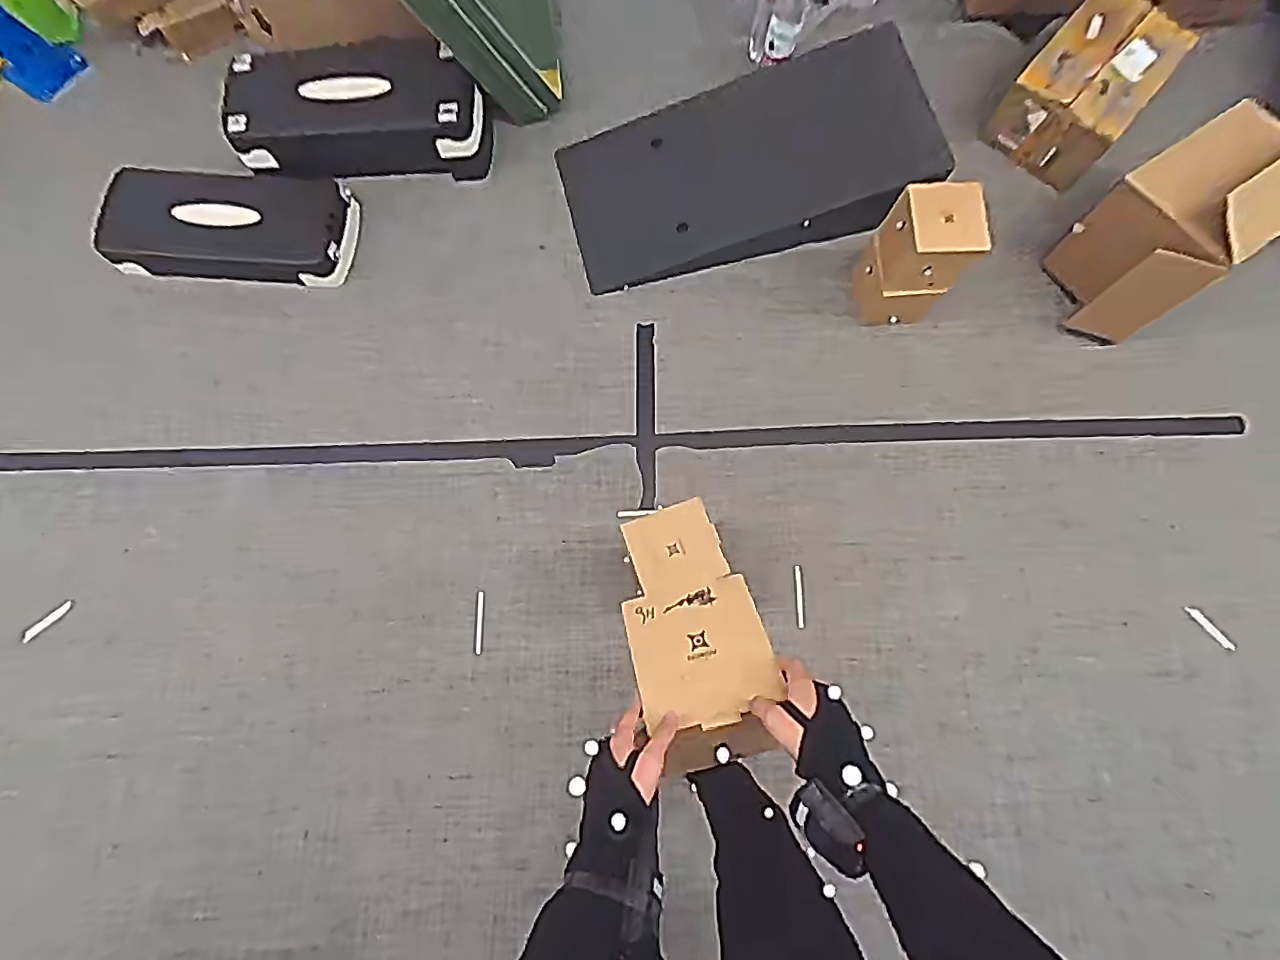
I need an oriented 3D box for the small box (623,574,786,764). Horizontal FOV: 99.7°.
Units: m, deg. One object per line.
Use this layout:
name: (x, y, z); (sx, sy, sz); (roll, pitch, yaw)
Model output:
small box: (0.082, 0.257, 0.718); (0.168, 0.176, 0.179); (-13, 47, -3)
